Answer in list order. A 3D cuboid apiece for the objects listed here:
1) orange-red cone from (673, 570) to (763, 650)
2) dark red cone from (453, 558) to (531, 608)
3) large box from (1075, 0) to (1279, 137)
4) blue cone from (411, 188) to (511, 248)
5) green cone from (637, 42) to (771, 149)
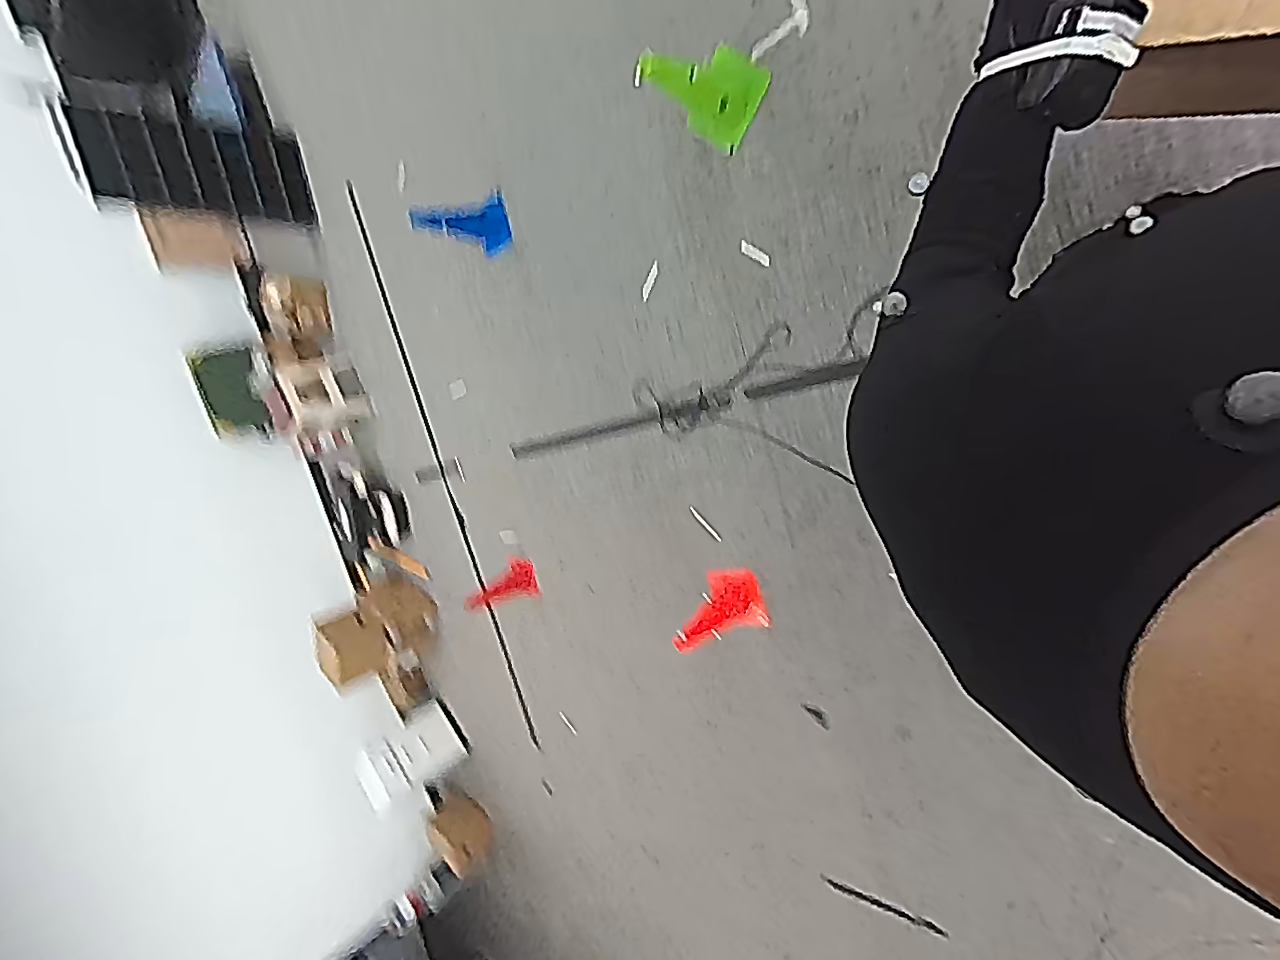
[{"bbox_3d":[0.227,0.462,1.808,0.199,0.360,0.198,-12,98,42],"label":"orange-red cone"},{"bbox_3d":[-0.741,0.538,2.673,0.202,0.394,0.201,-1,104,42],"label":"dark red cone"},{"bbox_3d":[0.554,-0.421,0.321,0.408,0.320,0.320,20,120,33],"label":"large box"},{"bbox_3d":[-0.706,-1.034,2.111,0.193,0.380,0.192,-4,102,42],"label":"blue cone"},{"bbox_3d":[0.129,-1.002,1.348,0.202,0.368,0.200,48,130,20],"label":"green cone"}]
